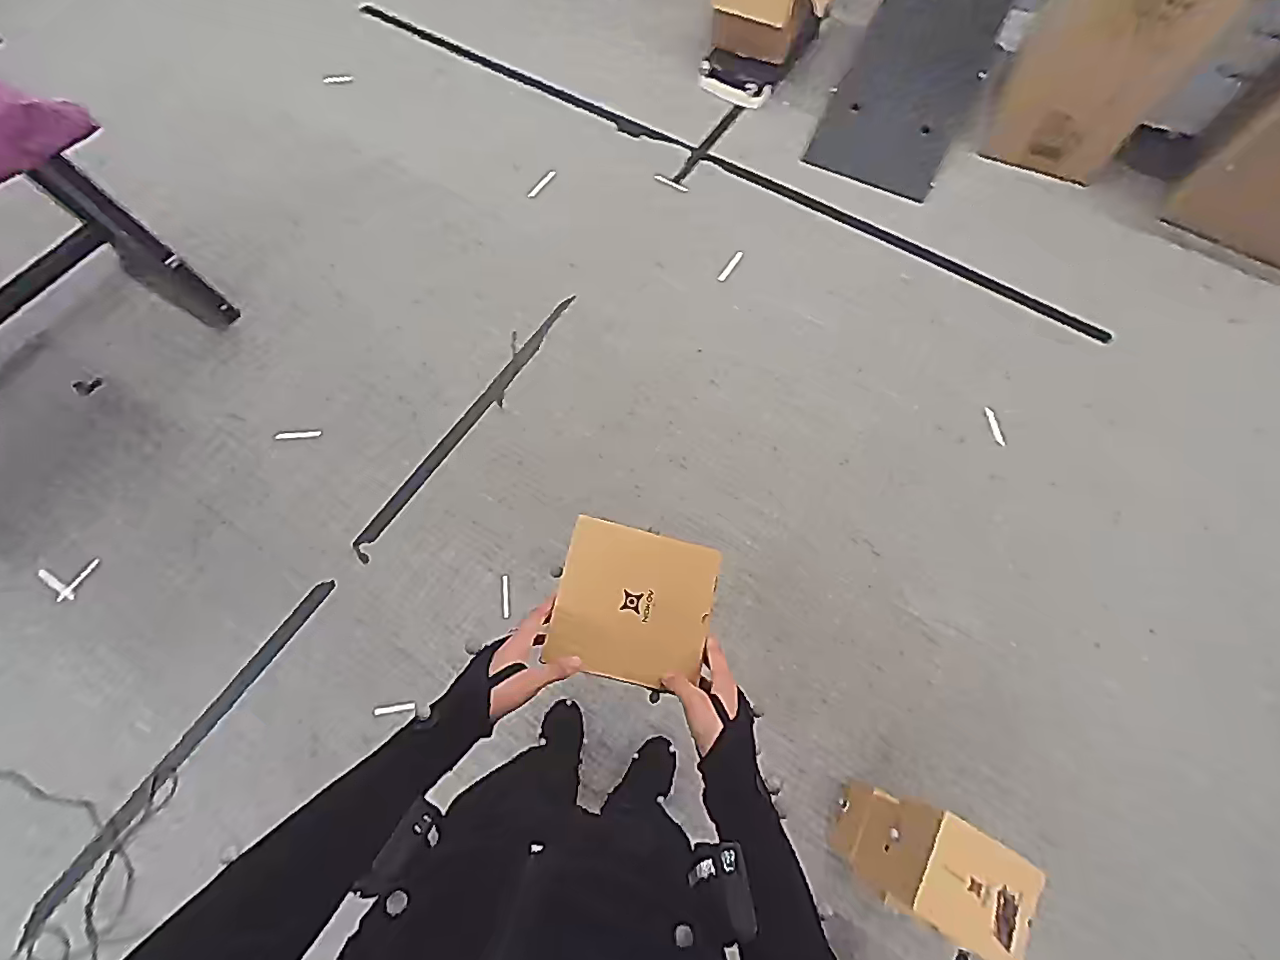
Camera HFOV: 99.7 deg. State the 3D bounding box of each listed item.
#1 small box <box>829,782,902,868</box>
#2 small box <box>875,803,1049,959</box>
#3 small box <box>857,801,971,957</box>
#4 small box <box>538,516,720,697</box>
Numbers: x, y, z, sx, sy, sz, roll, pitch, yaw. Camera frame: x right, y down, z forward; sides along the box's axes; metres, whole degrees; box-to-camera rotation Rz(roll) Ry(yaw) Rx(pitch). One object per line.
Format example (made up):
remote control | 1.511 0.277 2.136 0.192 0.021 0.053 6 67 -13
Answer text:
small box | 0.568 0.828 1.245 0.179 0.176 0.168 28 72 11
small box | 0.550 0.699 0.944 0.179 0.176 0.168 30 71 12
small box | 0.563 0.782 1.087 0.168 0.176 0.179 27 71 10
small box | -0.020 0.159 0.667 0.179 0.176 0.168 14 71 -6
